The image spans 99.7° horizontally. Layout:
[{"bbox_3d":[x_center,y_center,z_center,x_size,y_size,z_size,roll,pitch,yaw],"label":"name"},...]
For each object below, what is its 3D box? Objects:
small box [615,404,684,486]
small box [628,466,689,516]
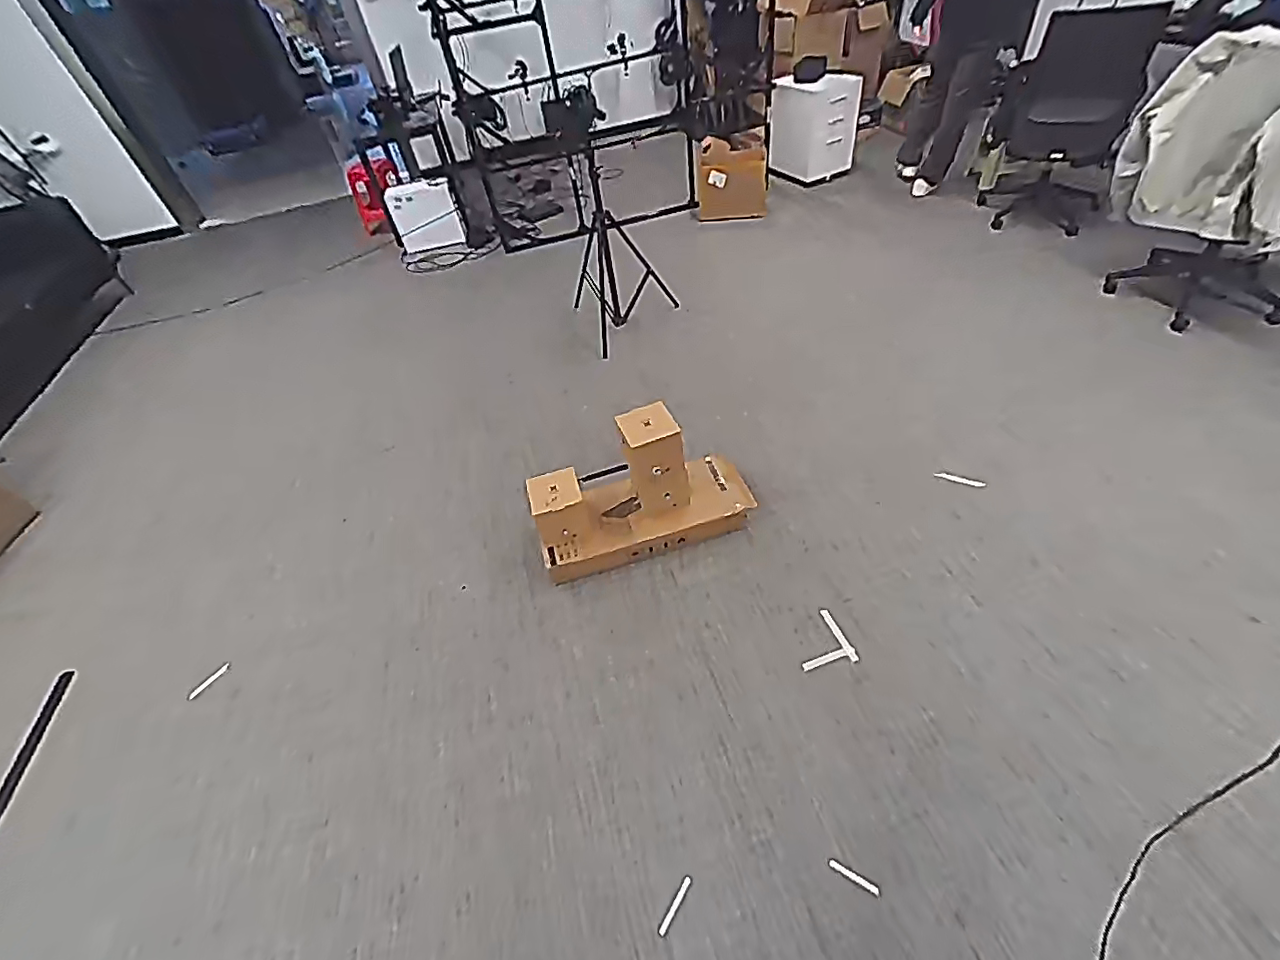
[{"bbox_3d":[0.033,-0.110,1.740,0.168,0.176,0.179,-21,46,-9],"label":"small box"},{"bbox_3d":[0.063,0.002,1.856,0.168,0.176,0.179,-18,46,-8],"label":"small box"}]
